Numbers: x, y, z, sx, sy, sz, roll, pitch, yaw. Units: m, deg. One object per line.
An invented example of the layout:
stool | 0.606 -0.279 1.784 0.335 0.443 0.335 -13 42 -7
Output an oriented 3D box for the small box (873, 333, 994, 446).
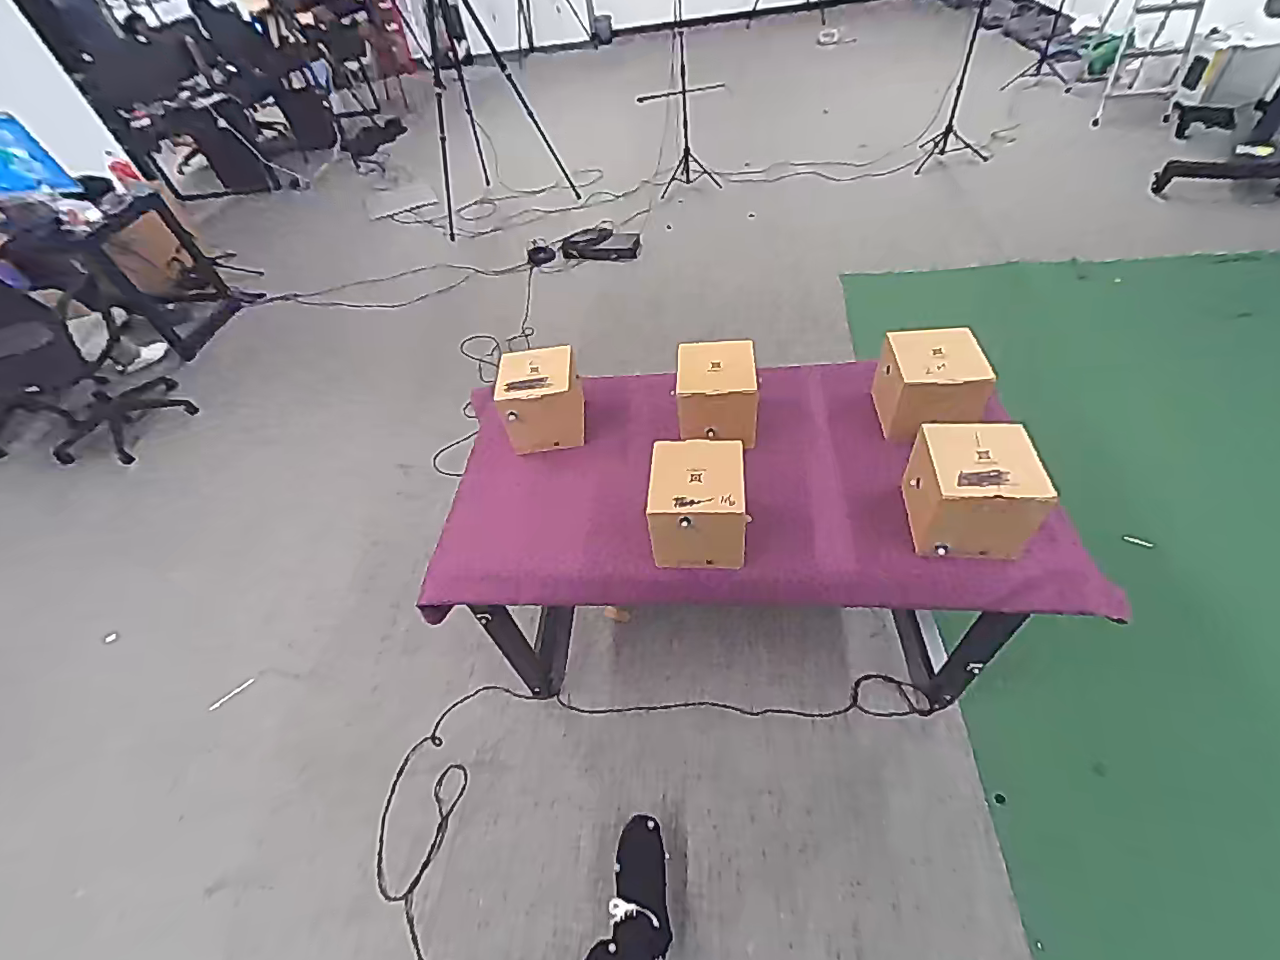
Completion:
small box | 0.606 -0.190 1.146 0.168 0.176 0.179 -1 50 9

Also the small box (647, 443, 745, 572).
small box | 0.108 0.049 1.006 0.168 0.176 0.179 0 47 9

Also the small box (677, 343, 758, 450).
small box | 0.170 -0.184 1.206 0.168 0.176 0.179 -1 50 7

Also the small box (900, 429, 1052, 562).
small box | 0.577 0.029 0.956 0.168 0.176 0.179 2 47 11
